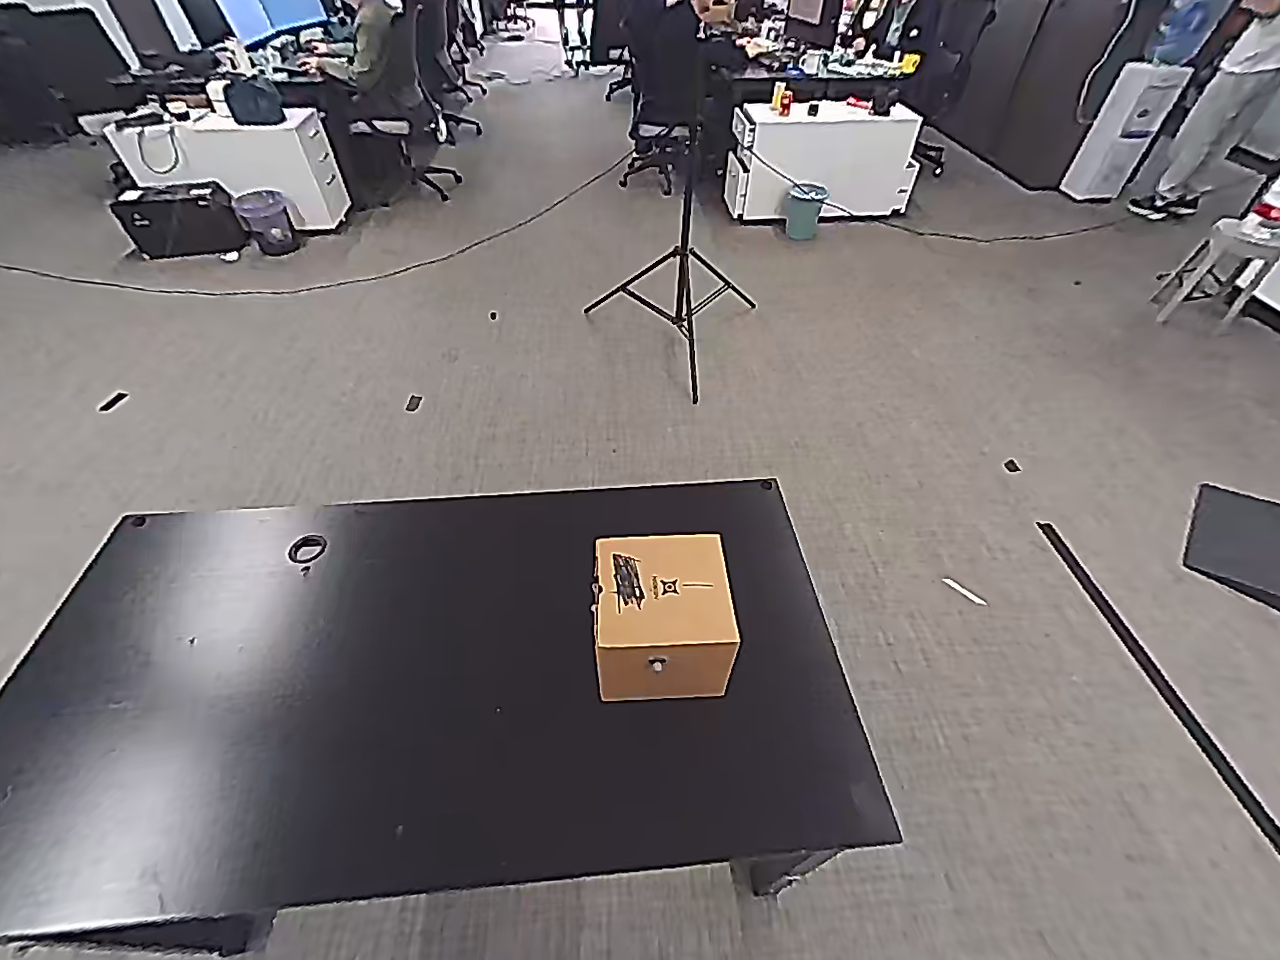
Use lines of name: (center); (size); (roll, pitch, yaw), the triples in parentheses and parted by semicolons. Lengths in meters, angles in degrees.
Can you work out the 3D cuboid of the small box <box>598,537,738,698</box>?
small box: (0.033, 0.199, 0.774); (0.179, 0.176, 0.168); (-2, 47, -2)
